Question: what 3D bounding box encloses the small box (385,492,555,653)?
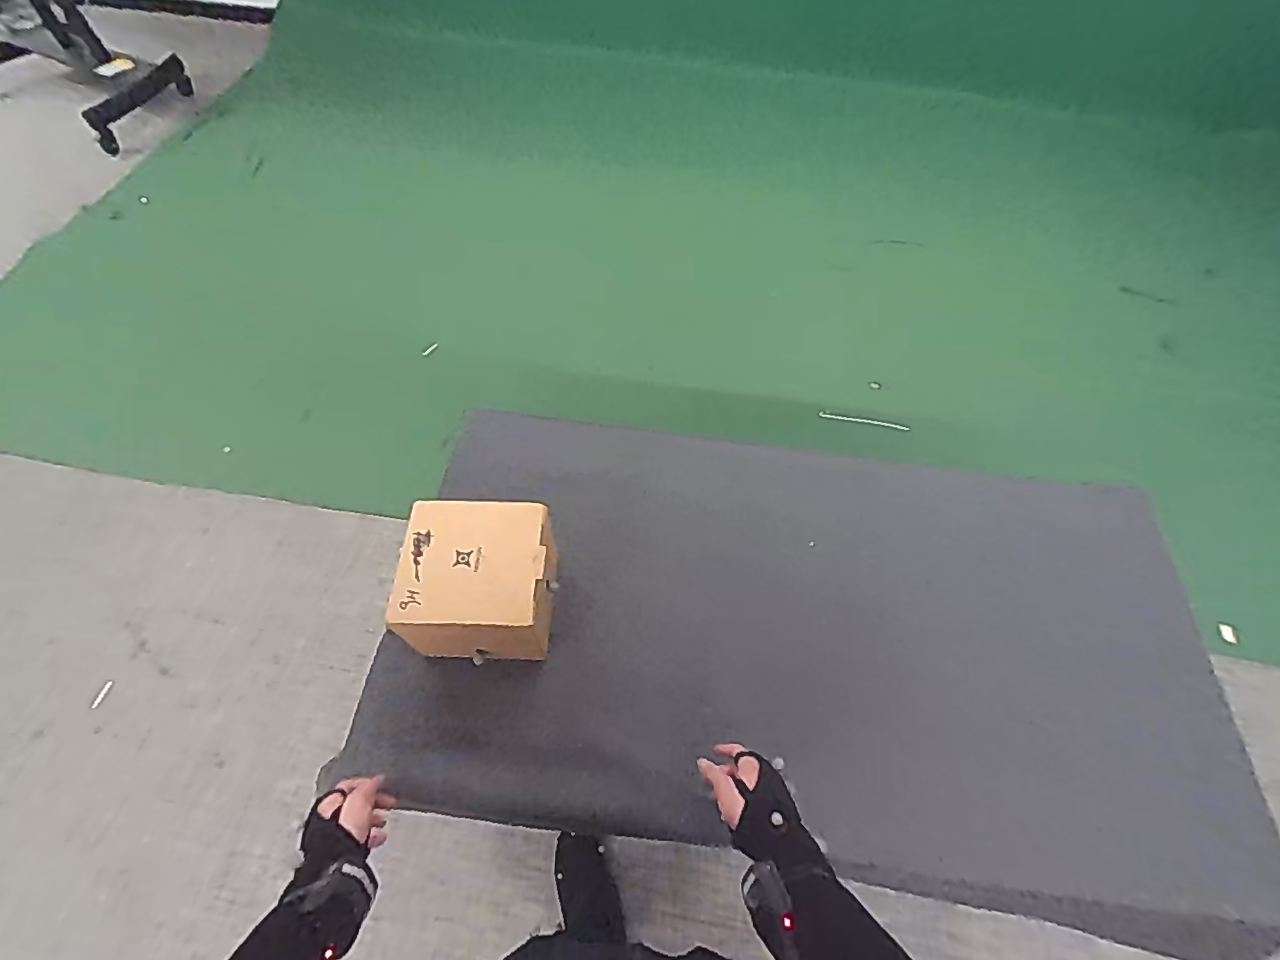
[{"bbox_3d":[-0.211,0.132,0.733,0.179,0.176,0.168,3,60,-3],"label":"small box"}]
